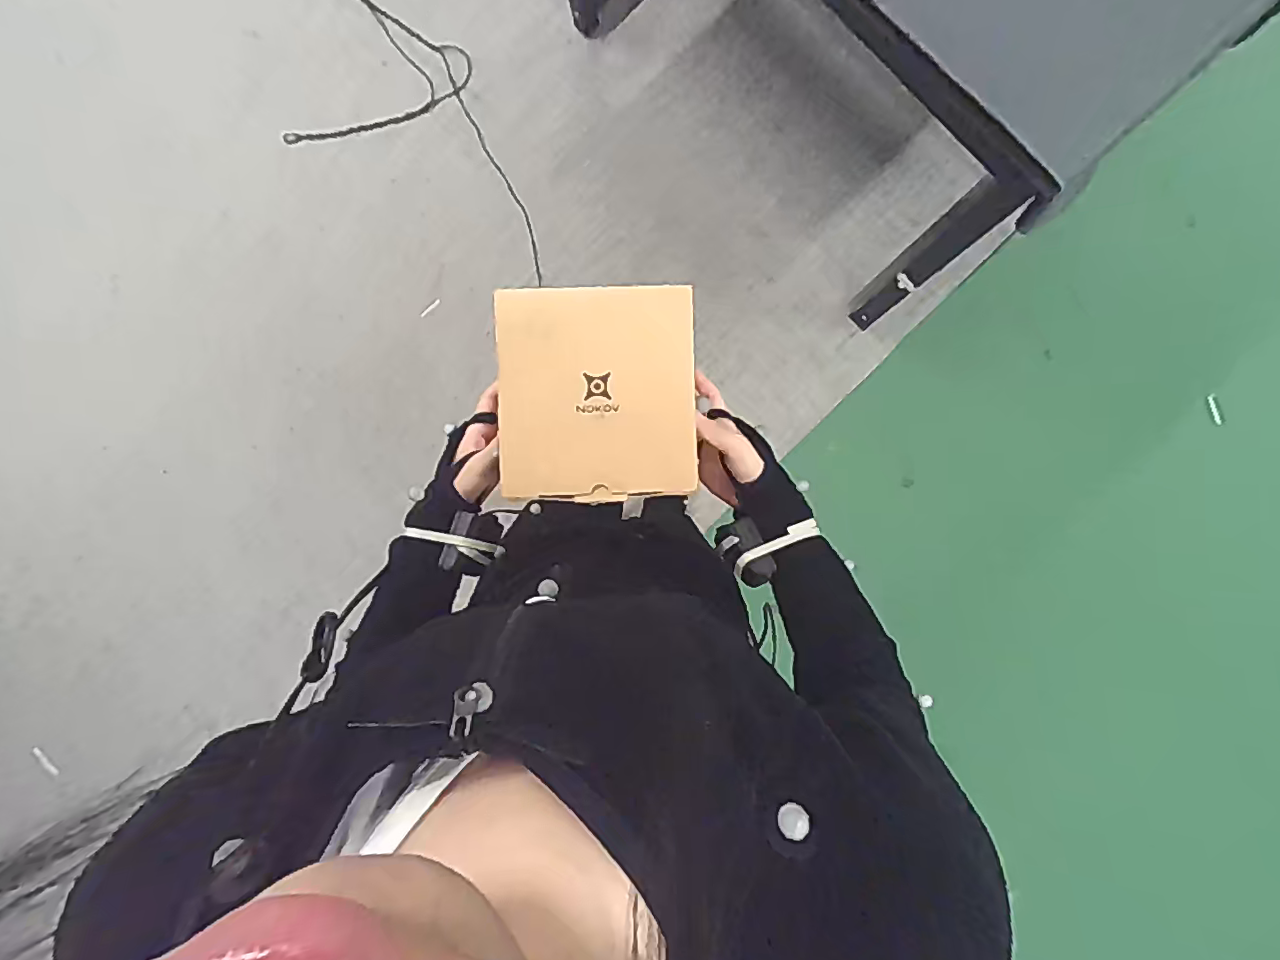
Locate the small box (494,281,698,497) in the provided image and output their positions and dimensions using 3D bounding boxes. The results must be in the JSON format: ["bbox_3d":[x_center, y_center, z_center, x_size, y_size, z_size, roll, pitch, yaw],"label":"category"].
[{"bbox_3d":[-0.039,-0.075,0.520,0.168,0.176,0.179,-3,91,-2],"label":"small box"}]
